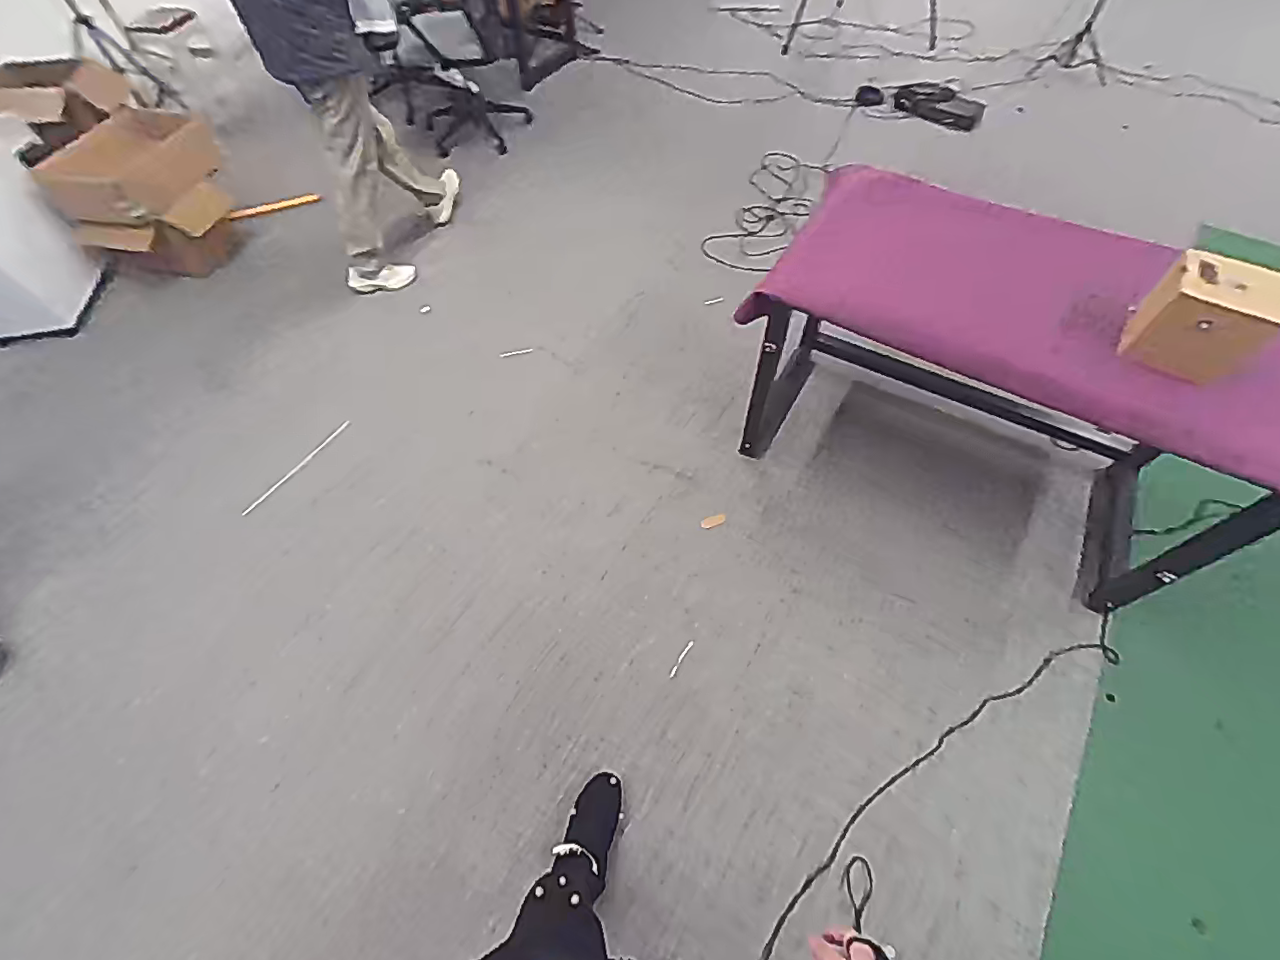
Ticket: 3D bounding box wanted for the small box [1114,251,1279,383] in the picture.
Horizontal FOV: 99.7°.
[{"bbox_3d":[1.129,-0.328,1.104,0.179,0.176,0.168,29,63,18],"label":"small box"}]
